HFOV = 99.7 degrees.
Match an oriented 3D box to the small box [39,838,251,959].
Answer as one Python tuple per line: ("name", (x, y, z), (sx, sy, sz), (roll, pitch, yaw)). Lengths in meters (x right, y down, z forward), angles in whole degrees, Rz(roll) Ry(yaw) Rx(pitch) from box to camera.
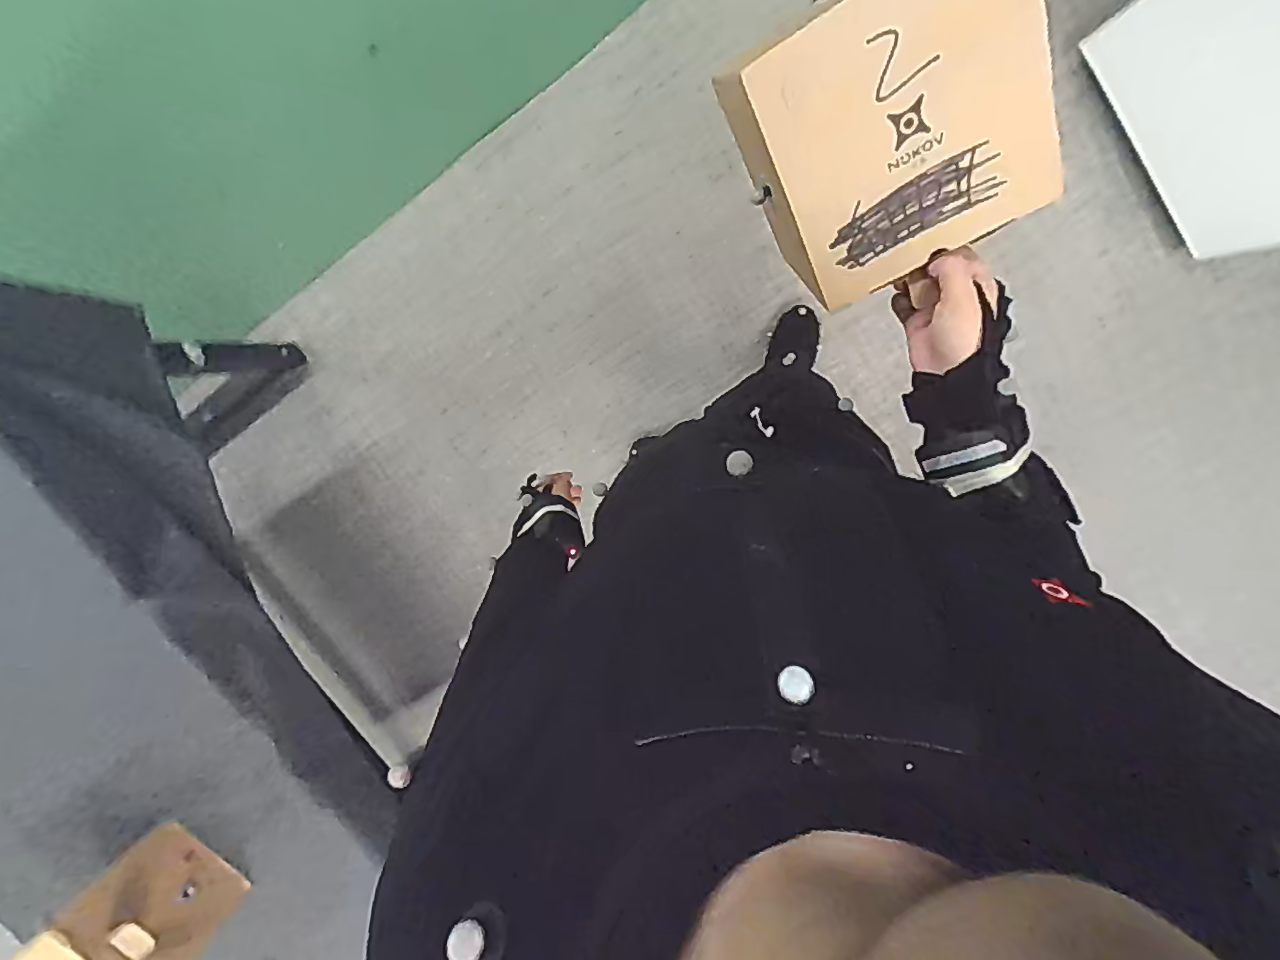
("small box", (-0.695, 0.651, 0.743), (0.179, 0.176, 0.168), (-42, 97, 12))
